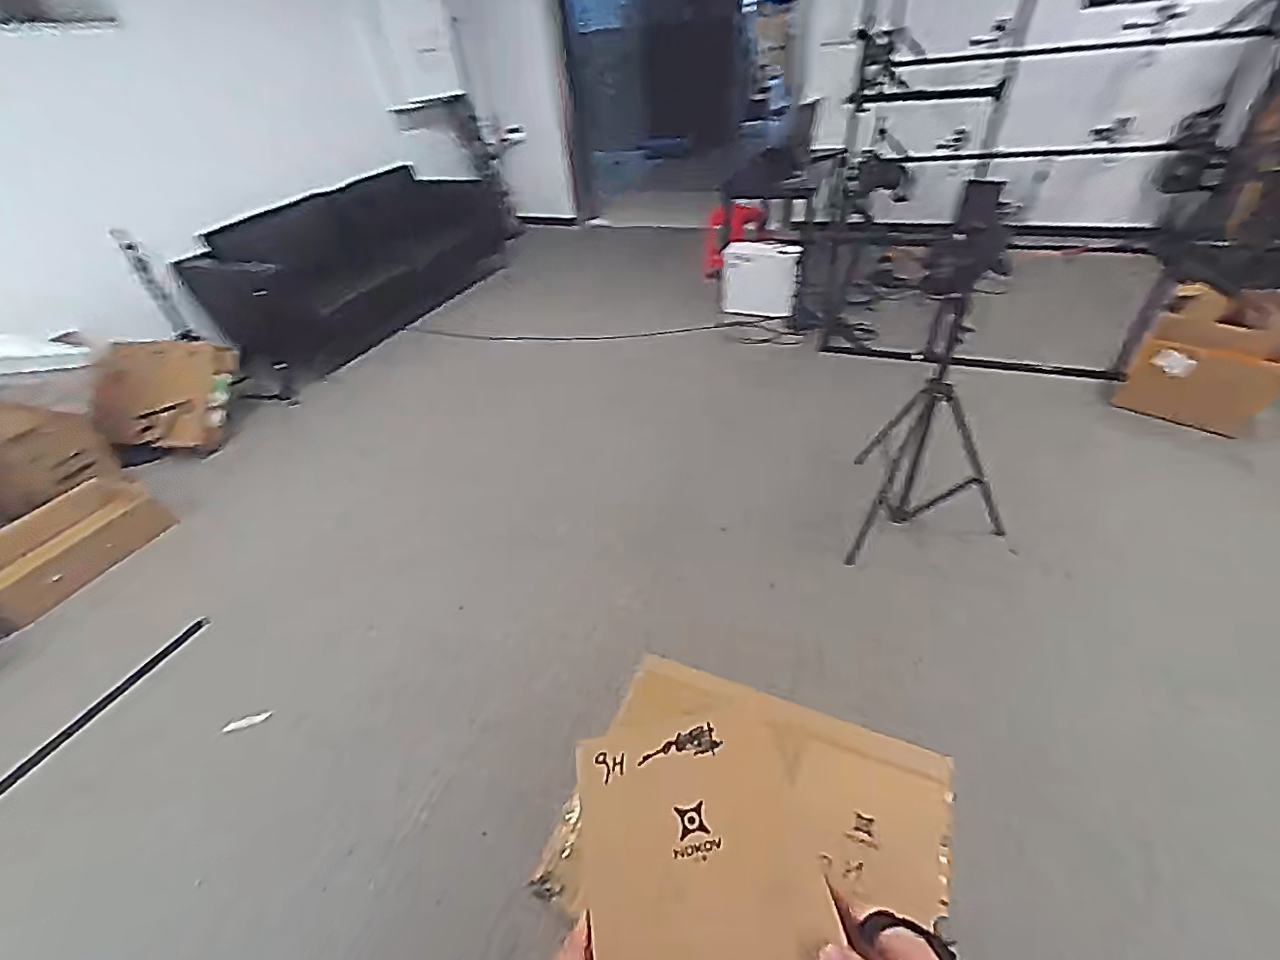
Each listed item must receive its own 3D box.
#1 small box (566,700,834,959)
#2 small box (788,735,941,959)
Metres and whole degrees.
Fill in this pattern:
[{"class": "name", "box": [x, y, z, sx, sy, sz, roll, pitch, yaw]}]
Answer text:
[{"class": "small box", "box": [0.040, 0.323, 0.458, 0.168, 0.176, 0.179, -12, 42, -6]}, {"class": "small box", "box": [0.266, 0.468, 0.683, 0.168, 0.176, 0.179, 12, 44, 23]}]
